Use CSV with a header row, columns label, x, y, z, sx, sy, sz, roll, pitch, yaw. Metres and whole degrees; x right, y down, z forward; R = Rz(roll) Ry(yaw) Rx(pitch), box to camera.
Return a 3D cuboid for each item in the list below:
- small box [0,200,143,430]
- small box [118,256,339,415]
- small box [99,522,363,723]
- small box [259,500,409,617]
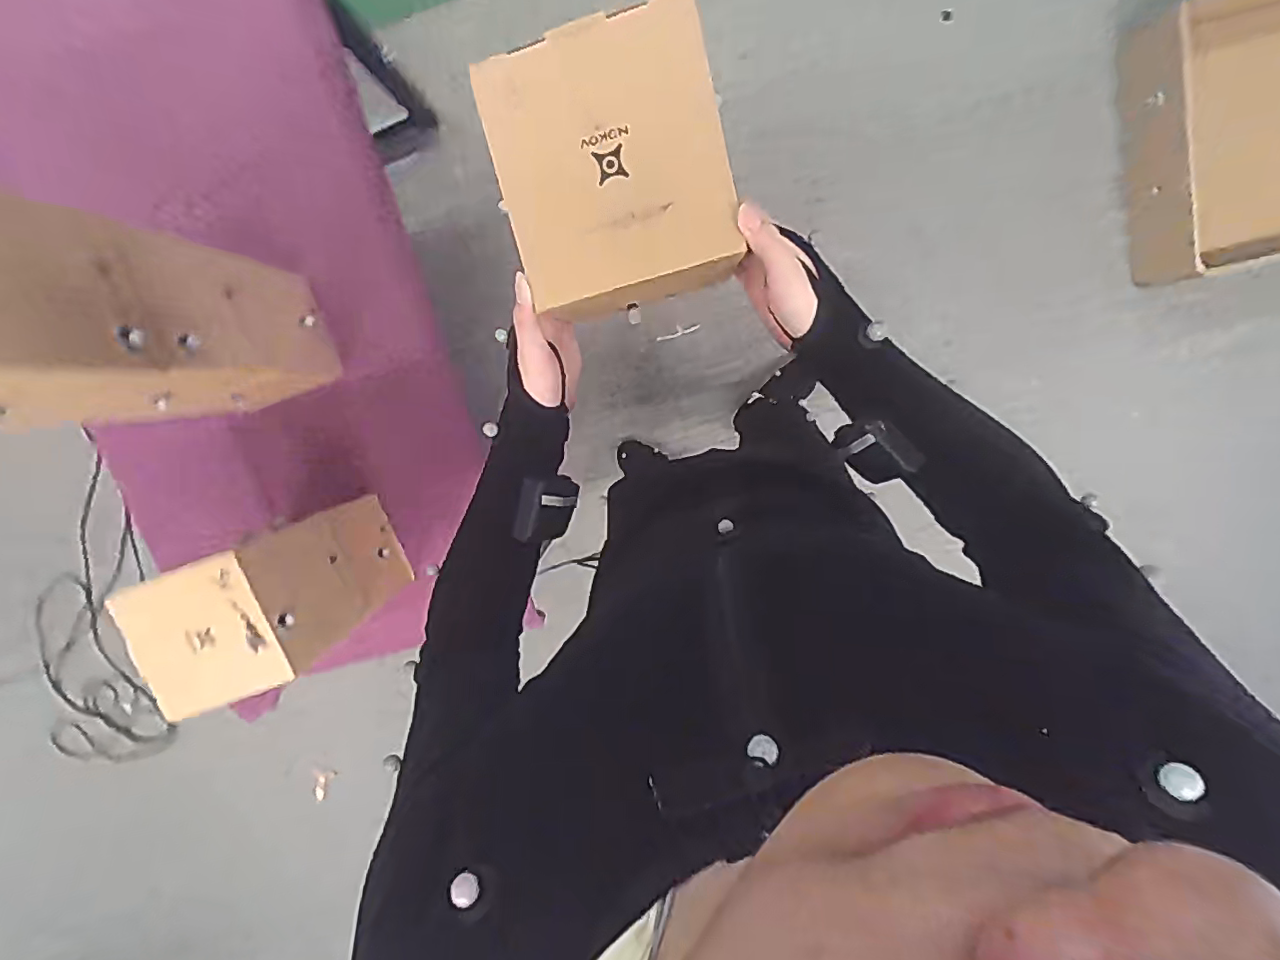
label,x,y,z,sx,sy,sz,roll,pitch,yaw
small box,-0.600,-0.142,0.473,0.179,0.176,0.168,-20,98,7
small box,-0.594,-0.202,0.797,0.179,0.176,0.168,-19,99,6
small box,-0.501,0.170,0.691,0.179,0.176,0.168,-20,98,6
small box,-0.506,0.147,0.854,0.179,0.176,0.168,-22,98,6
